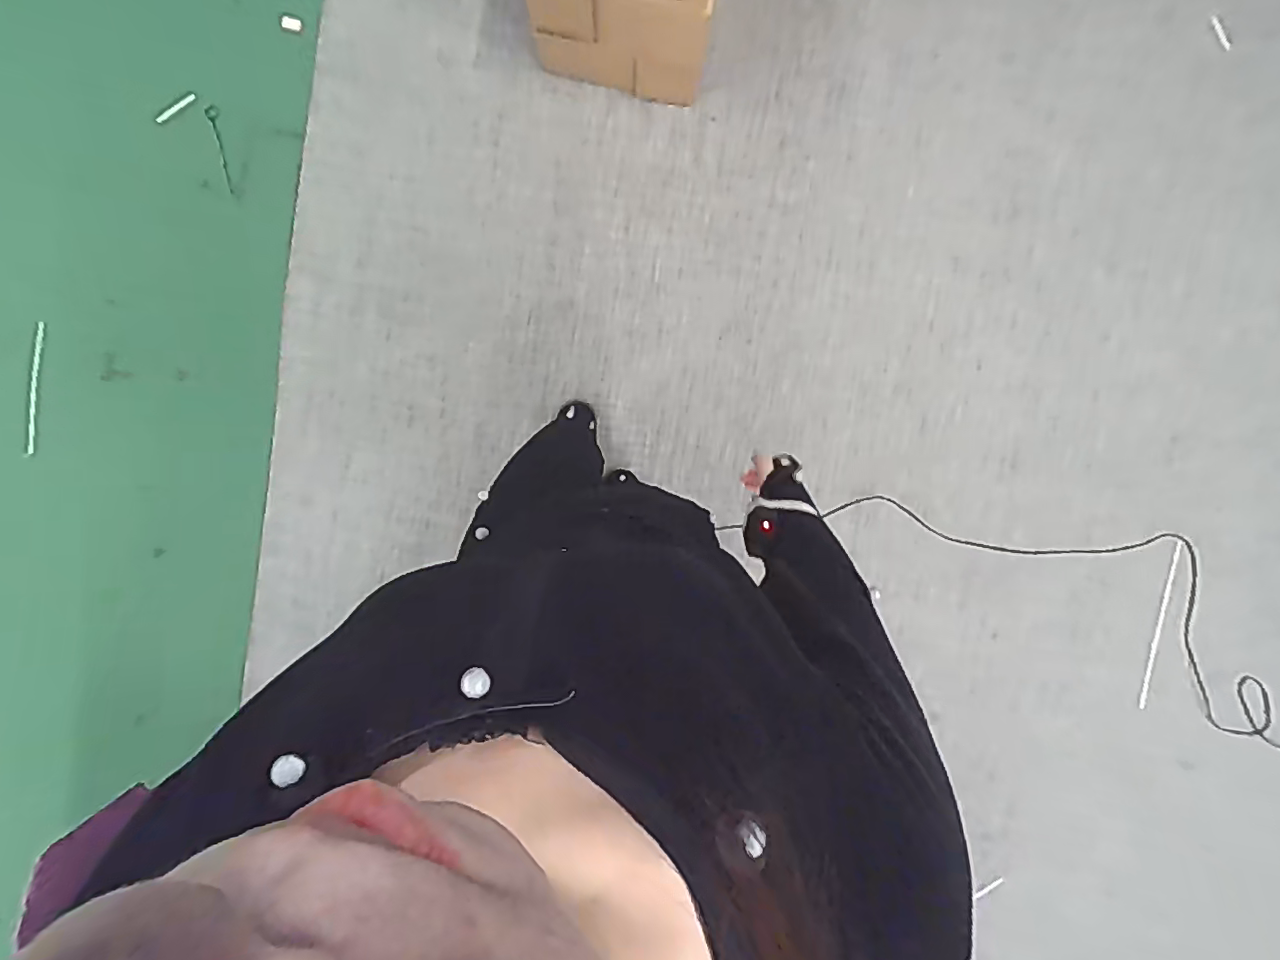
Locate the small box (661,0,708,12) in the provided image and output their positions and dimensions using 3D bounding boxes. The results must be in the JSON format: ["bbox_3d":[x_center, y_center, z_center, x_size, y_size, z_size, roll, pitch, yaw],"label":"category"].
[{"bbox_3d":[0.078,-1.045,1.008,0.168,0.176,0.179,15,92,-1],"label":"small box"}]
